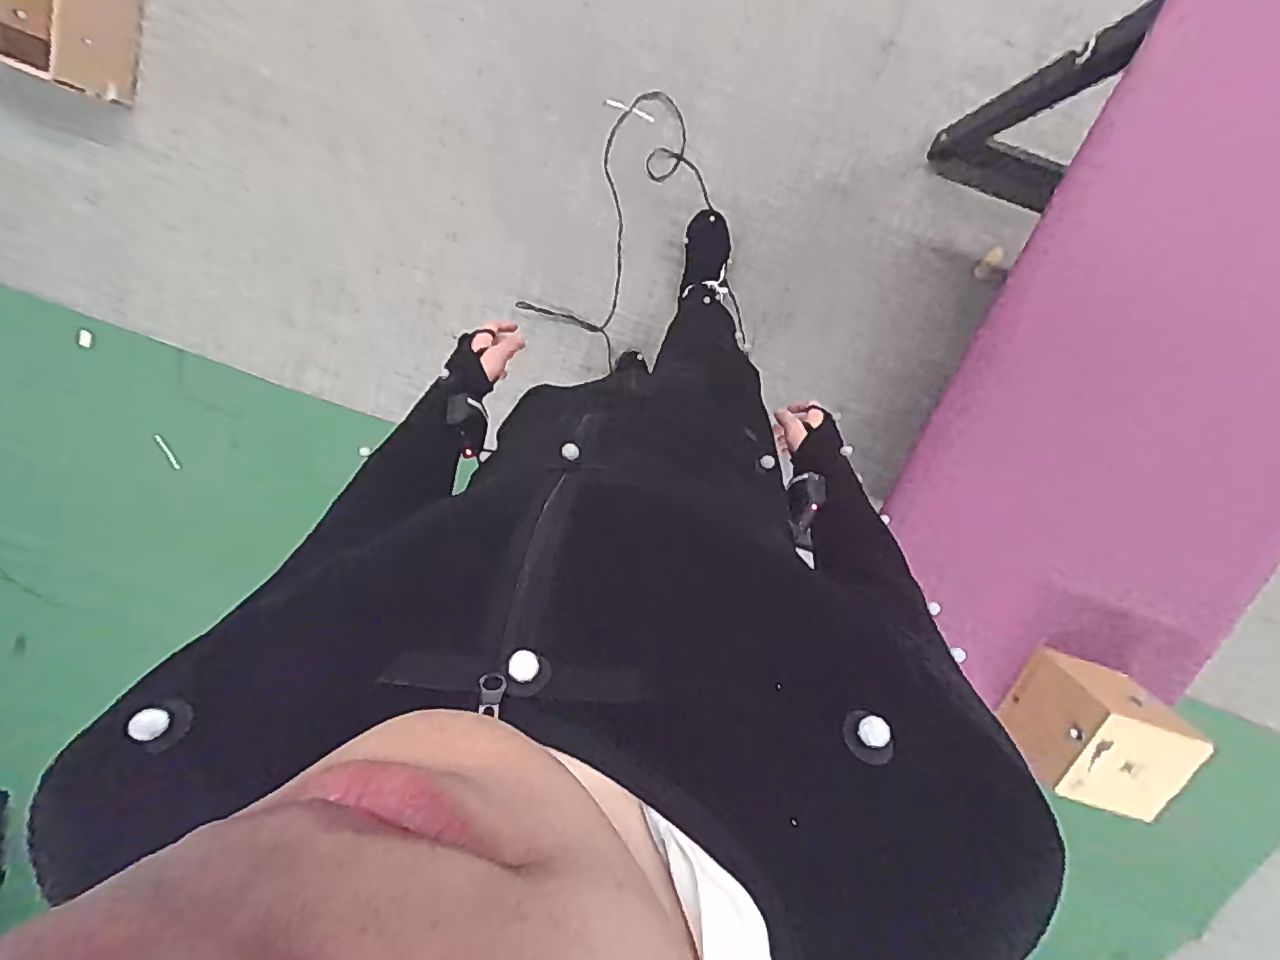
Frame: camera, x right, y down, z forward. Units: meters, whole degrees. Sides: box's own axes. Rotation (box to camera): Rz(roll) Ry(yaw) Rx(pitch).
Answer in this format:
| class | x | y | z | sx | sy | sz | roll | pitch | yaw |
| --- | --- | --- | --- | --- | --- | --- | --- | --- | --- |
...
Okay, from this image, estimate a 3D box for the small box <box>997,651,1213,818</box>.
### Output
| class | x | y | z | sx | sy | sz | roll | pitch | yaw |
| --- | --- | --- | --- | --- | --- | --- | --- | --- | --- |
| small box | 0.760 | 0.416 | 0.907 | 0.179 | 0.176 | 0.168 | 18 | 107 | -4 |
